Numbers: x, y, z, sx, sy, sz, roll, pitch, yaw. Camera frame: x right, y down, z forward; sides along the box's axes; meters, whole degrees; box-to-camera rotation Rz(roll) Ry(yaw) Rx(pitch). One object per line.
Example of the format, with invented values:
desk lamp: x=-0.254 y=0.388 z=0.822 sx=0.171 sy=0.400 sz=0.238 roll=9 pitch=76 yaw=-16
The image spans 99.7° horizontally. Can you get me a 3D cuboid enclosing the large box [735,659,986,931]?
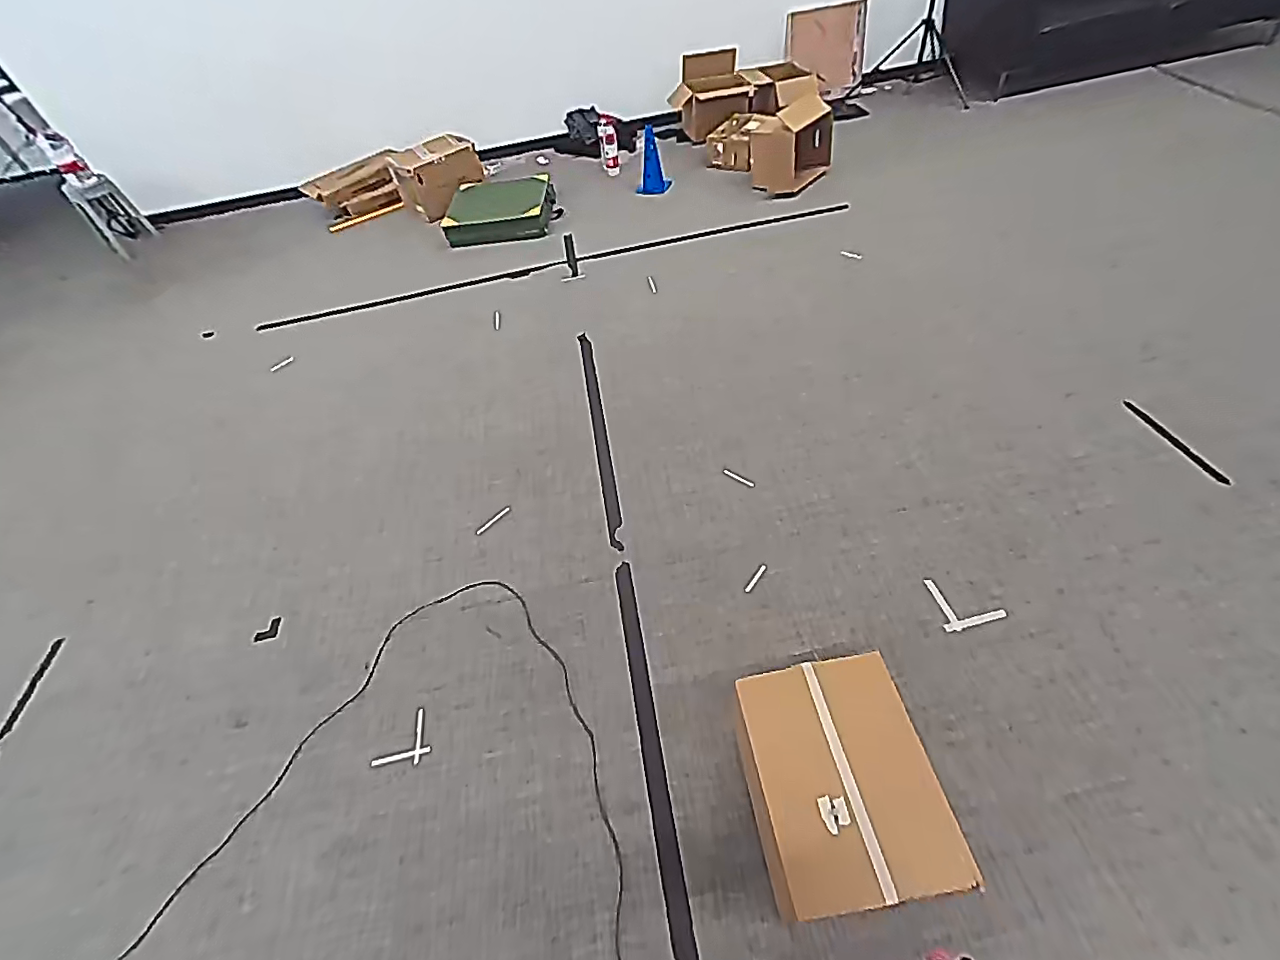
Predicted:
large box: x=0.400 y=0.644 z=1.117 sx=0.320 sy=0.320 sz=0.408 roll=-12 pitch=49 yaw=0
